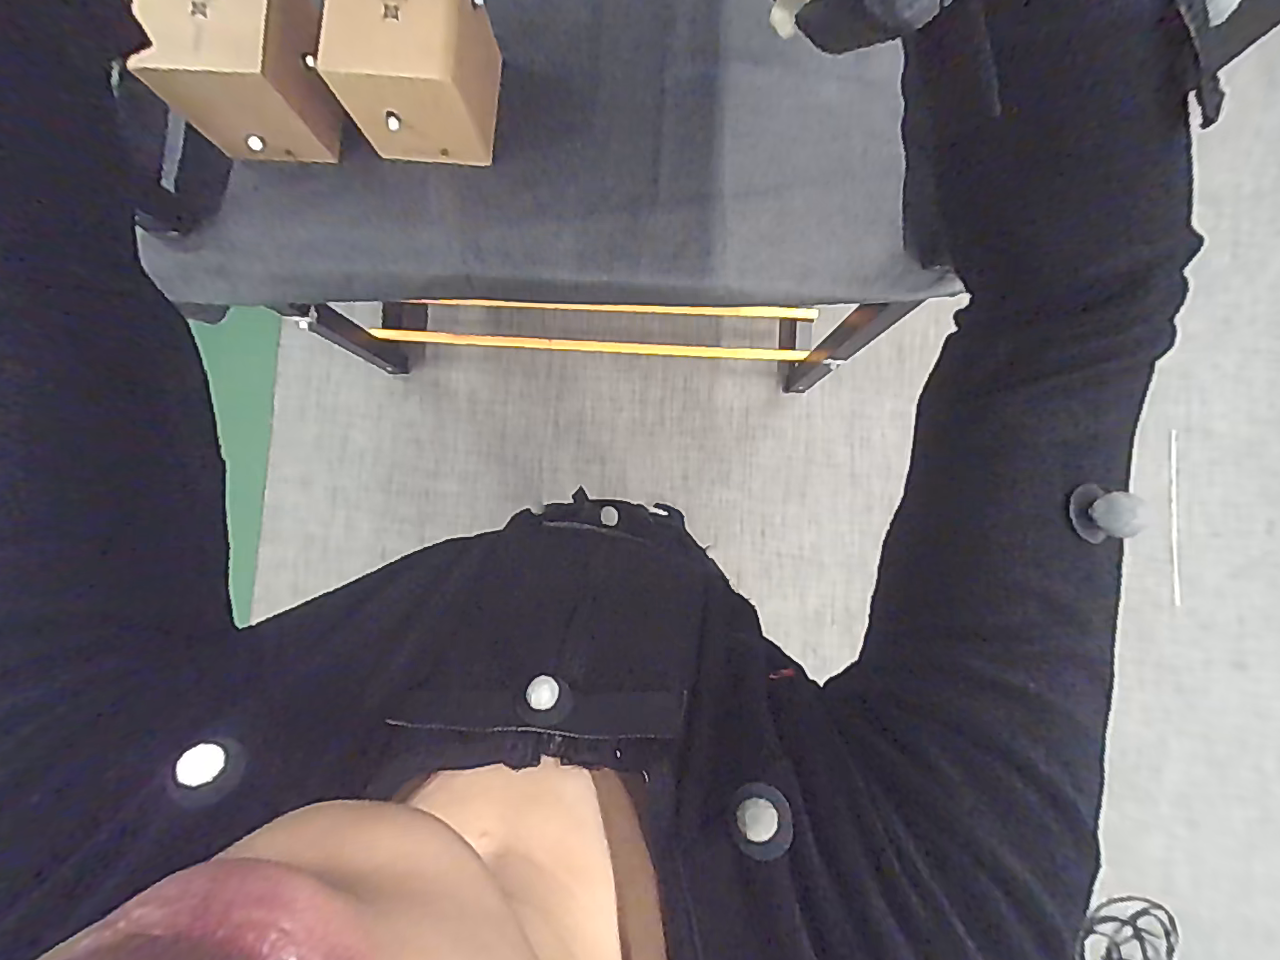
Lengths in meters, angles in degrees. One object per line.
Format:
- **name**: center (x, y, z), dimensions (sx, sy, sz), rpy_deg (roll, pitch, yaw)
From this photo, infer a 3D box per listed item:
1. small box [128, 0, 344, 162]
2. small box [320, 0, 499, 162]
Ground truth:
- **small box**: center (-0.526, -0.572, 0.732), dimensions (0.168, 0.176, 0.179), rpy_deg (3, 87, 0)
- **small box**: center (-0.298, -0.568, 0.734), dimensions (0.168, 0.176, 0.179), rpy_deg (4, 86, 0)
